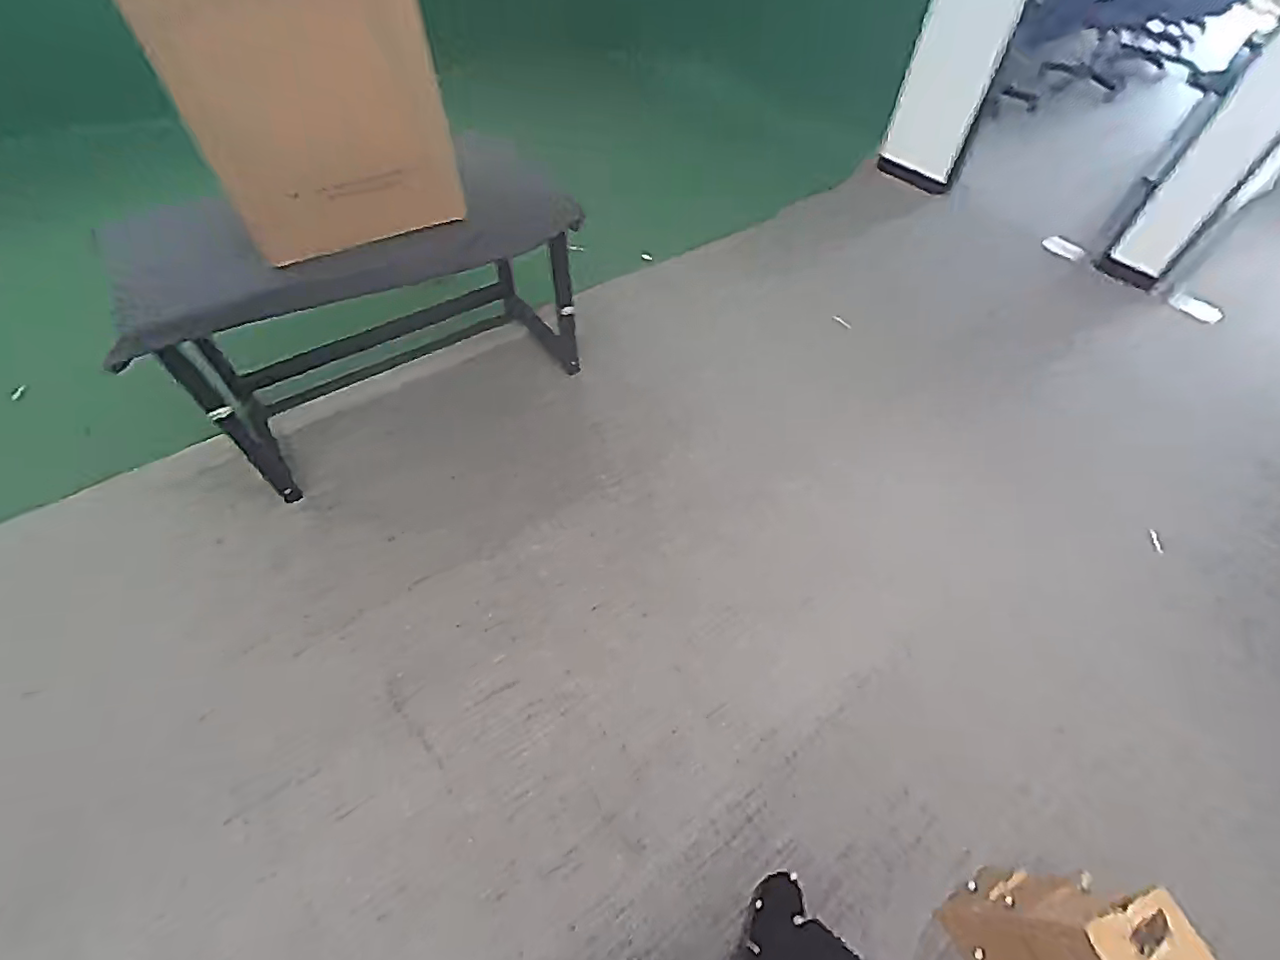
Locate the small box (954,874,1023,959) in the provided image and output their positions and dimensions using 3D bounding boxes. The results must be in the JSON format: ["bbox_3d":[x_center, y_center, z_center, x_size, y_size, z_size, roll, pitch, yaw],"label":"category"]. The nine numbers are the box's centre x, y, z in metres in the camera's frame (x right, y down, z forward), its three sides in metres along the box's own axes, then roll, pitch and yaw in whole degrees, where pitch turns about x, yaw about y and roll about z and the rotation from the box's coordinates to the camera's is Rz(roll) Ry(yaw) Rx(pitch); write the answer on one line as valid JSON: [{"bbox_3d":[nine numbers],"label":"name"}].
[{"bbox_3d":[0.782,0.959,1.117,0.168,0.176,0.179,27,55,16],"label":"small box"}]

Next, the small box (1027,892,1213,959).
[{"bbox_3d":[0.770,0.777,0.851,0.168,0.176,0.179,-11,55,-7],"label":"small box"}]

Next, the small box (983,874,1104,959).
[{"bbox_3d":[0.779,0.862,0.996,0.179,0.176,0.168,-18,56,-16],"label":"small box"}]
